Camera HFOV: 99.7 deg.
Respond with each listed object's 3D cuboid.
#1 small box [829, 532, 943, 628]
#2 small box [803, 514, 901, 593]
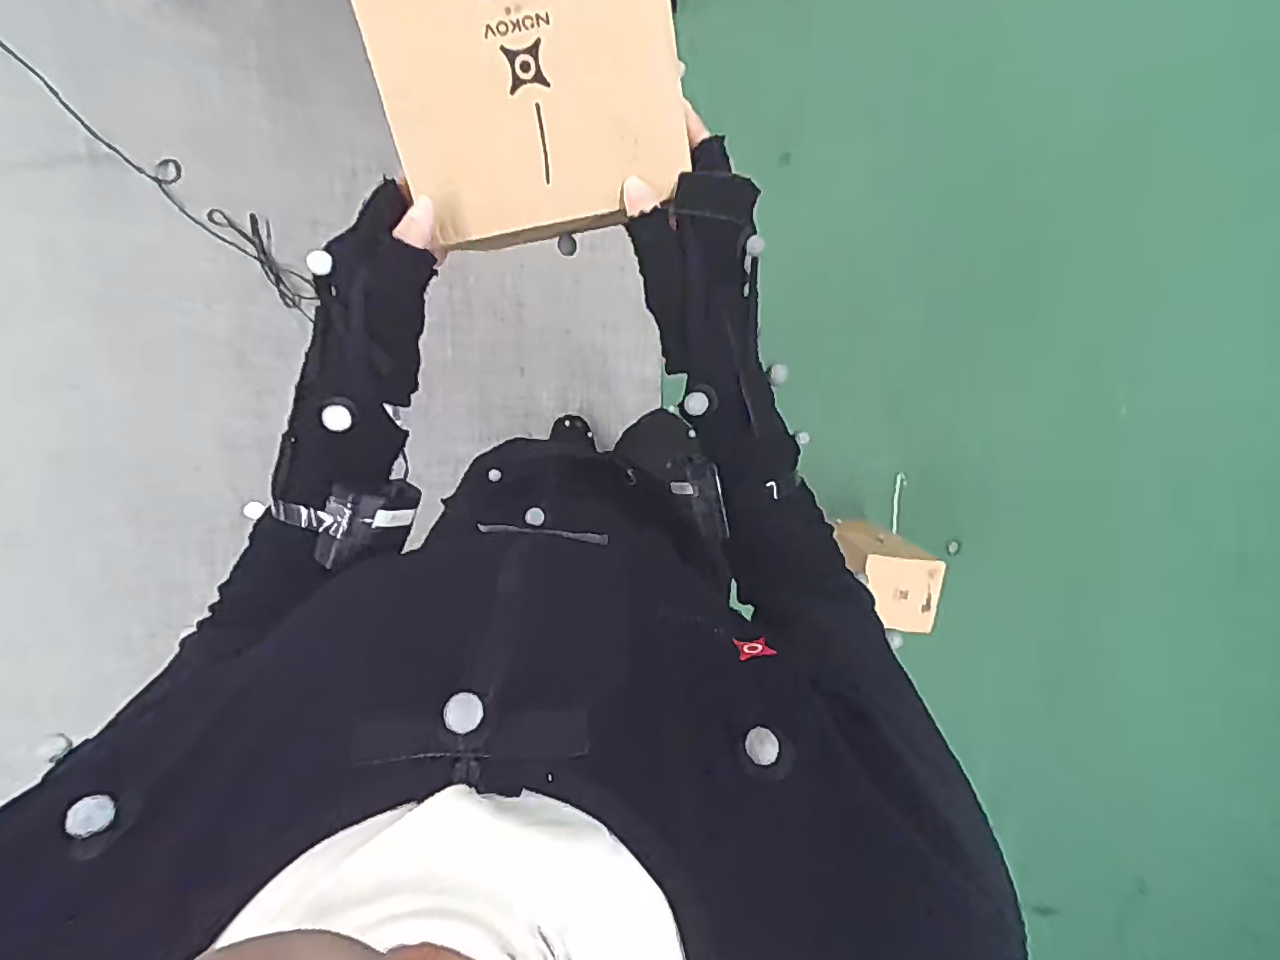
[{"bbox_3d":[0.555,0.223,1.252,0.179,0.176,0.168,7,101,-3],"label":"small box"},{"bbox_3d":[0.539,0.193,1.393,0.179,0.176,0.168,7,102,-4],"label":"small box"}]
